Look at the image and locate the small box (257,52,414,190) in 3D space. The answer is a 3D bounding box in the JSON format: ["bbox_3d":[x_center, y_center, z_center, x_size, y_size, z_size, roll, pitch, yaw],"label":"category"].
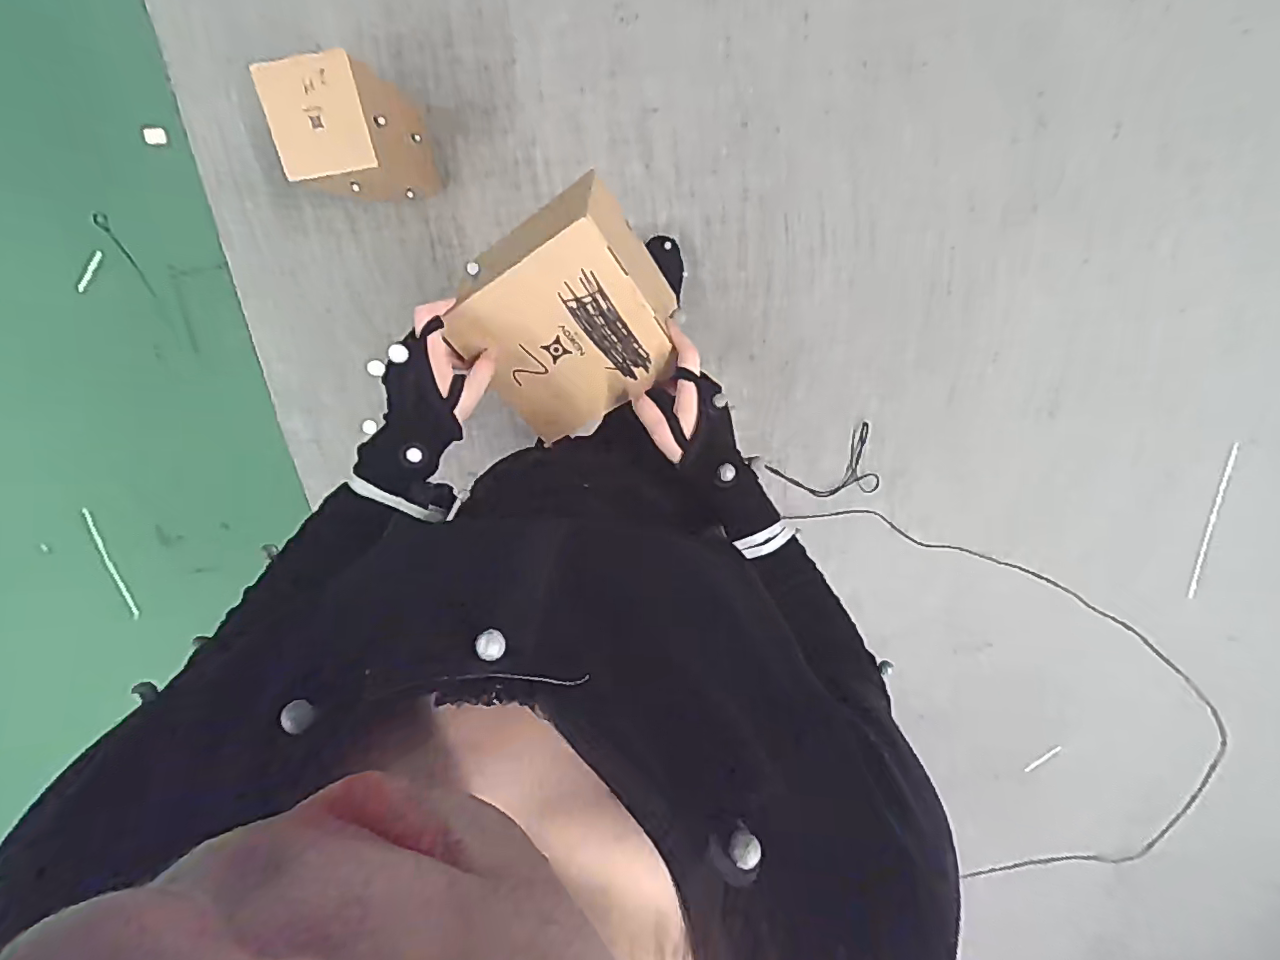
[{"bbox_3d":[-0.541,-0.642,0.991,0.168,0.176,0.179,-7,111,2],"label":"small box"}]

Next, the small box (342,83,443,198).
[{"bbox_3d":[-0.536,-0.704,1.143,0.168,0.176,0.179,-5,111,2],"label":"small box"}]
